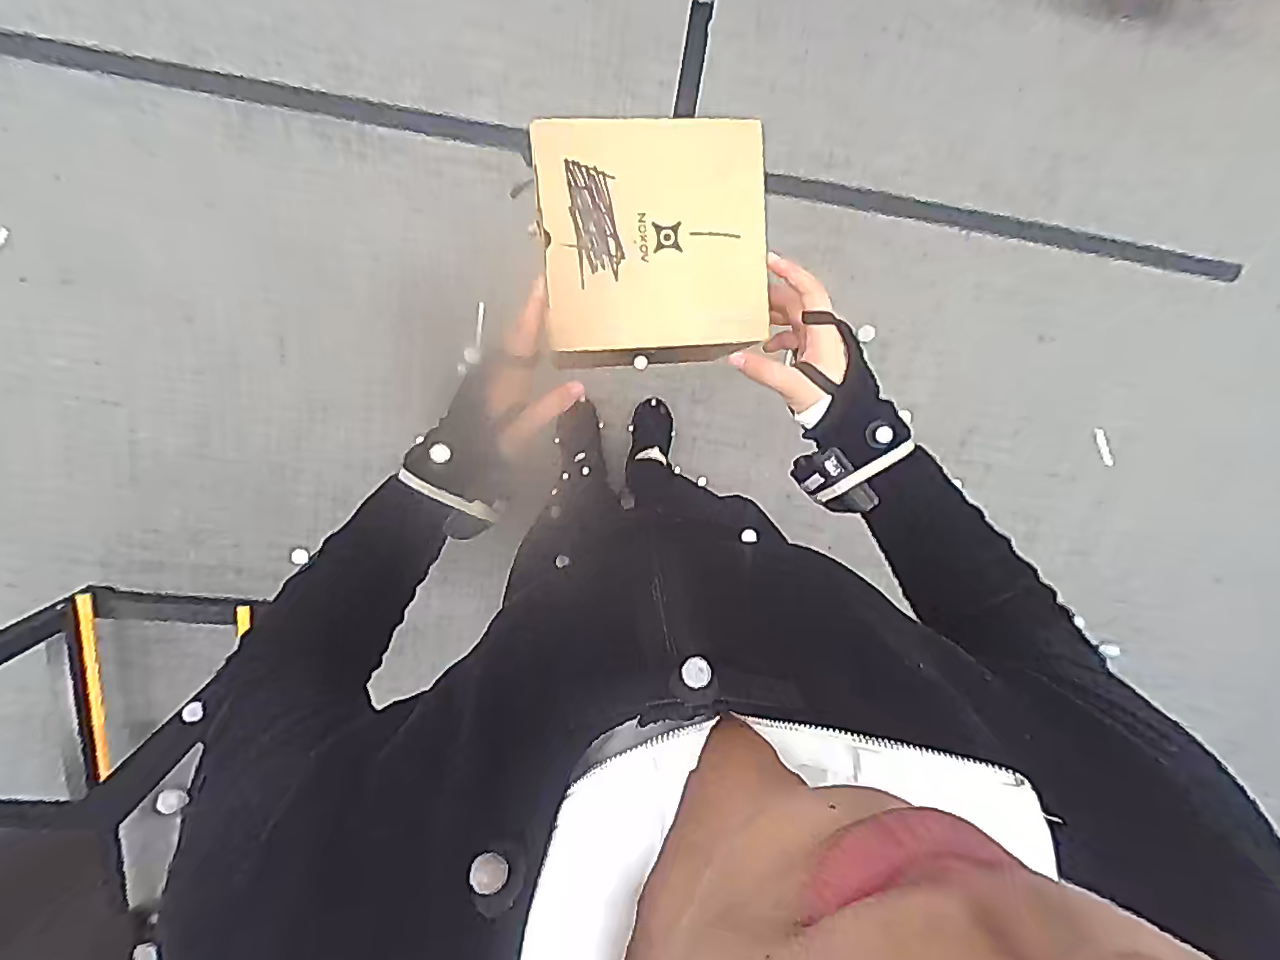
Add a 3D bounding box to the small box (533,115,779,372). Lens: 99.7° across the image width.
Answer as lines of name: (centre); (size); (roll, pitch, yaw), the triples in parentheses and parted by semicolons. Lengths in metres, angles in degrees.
small box: (0.005, -0.186, 0.472); (0.179, 0.176, 0.168); (-5, 98, -8)
